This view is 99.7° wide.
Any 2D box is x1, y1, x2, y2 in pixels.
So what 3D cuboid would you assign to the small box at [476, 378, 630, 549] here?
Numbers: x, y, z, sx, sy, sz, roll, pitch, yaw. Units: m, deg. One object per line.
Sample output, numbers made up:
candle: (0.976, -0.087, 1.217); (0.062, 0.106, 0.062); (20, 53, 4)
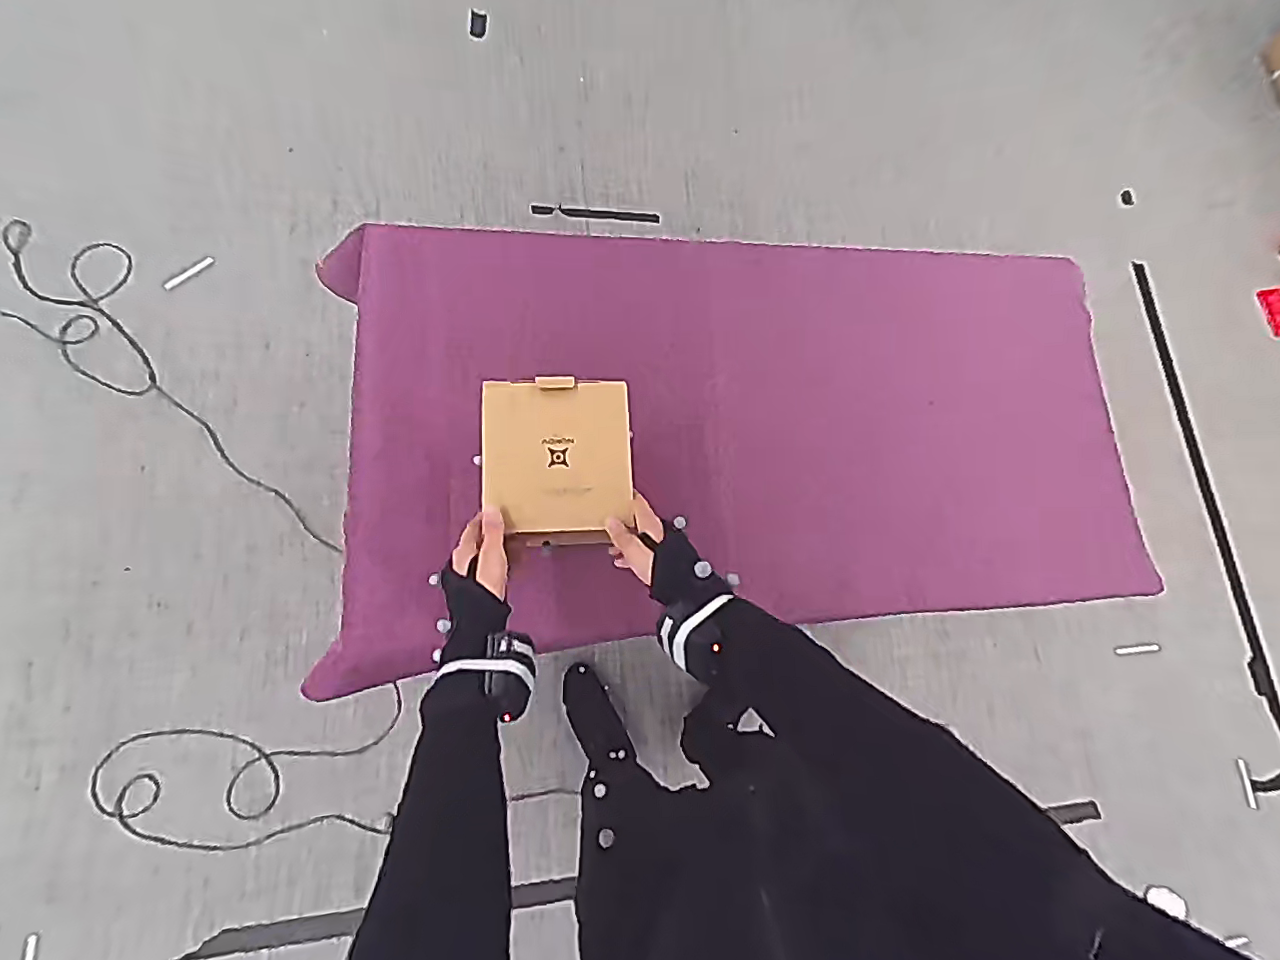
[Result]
small box: (-0.107, -0.012, 0.669); (0.168, 0.176, 0.179); (-1, 78, -9)
